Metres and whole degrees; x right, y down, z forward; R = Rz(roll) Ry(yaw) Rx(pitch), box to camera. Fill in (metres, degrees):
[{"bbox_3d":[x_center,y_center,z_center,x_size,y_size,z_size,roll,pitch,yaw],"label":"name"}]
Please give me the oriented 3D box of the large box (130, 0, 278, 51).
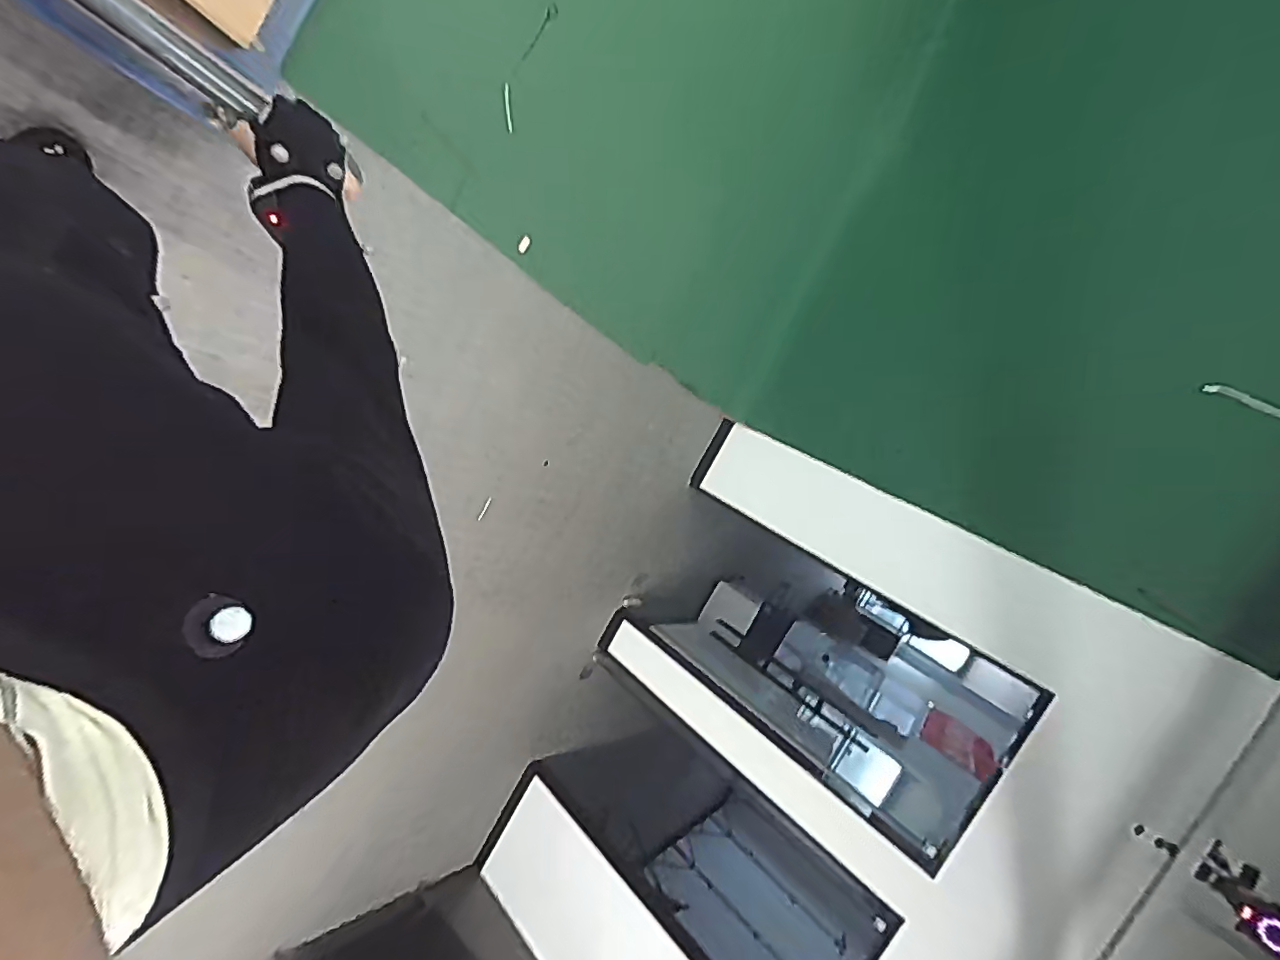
[{"bbox_3d":[-0.671,-0.912,0.754,0.408,0.320,0.320,-61,147,2],"label":"large box"}]
